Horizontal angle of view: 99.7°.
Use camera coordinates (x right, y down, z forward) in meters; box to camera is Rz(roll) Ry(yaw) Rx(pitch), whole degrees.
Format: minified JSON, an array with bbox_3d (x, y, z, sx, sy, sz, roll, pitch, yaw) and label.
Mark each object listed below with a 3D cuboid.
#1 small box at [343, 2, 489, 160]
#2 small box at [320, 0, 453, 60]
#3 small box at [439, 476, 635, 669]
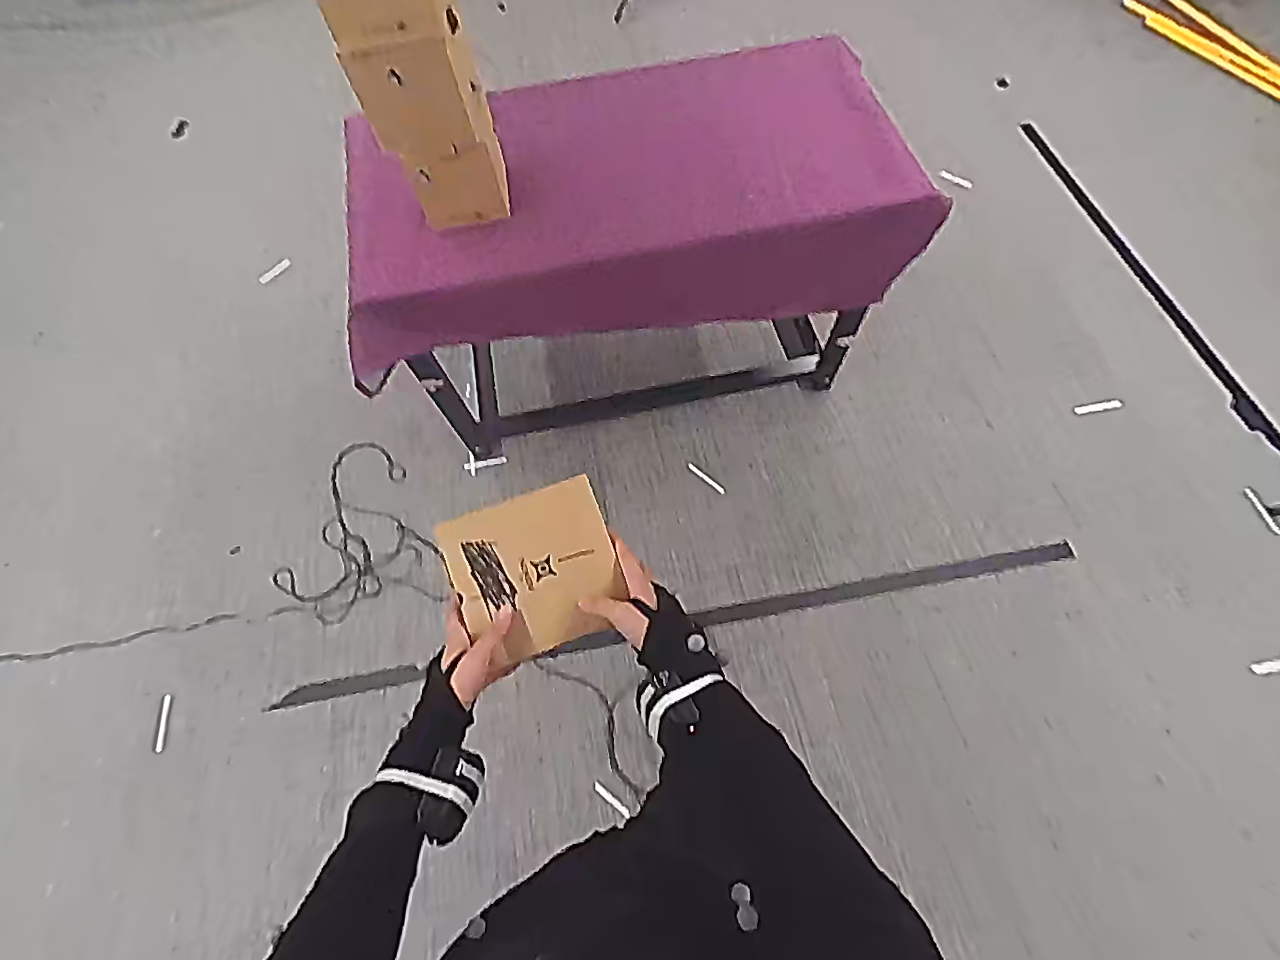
[{"bbox_3d":[-0.382,-0.694,0.954,0.179,0.176,0.168,-4,65,0],"label":"small box"},{"bbox_3d":[-0.387,-0.760,0.805,0.168,0.176,0.179,-10,64,-2],"label":"small box"},{"bbox_3d":[-0.120,0.114,0.662,0.179,0.176,0.168,-19,81,-11],"label":"small box"}]
